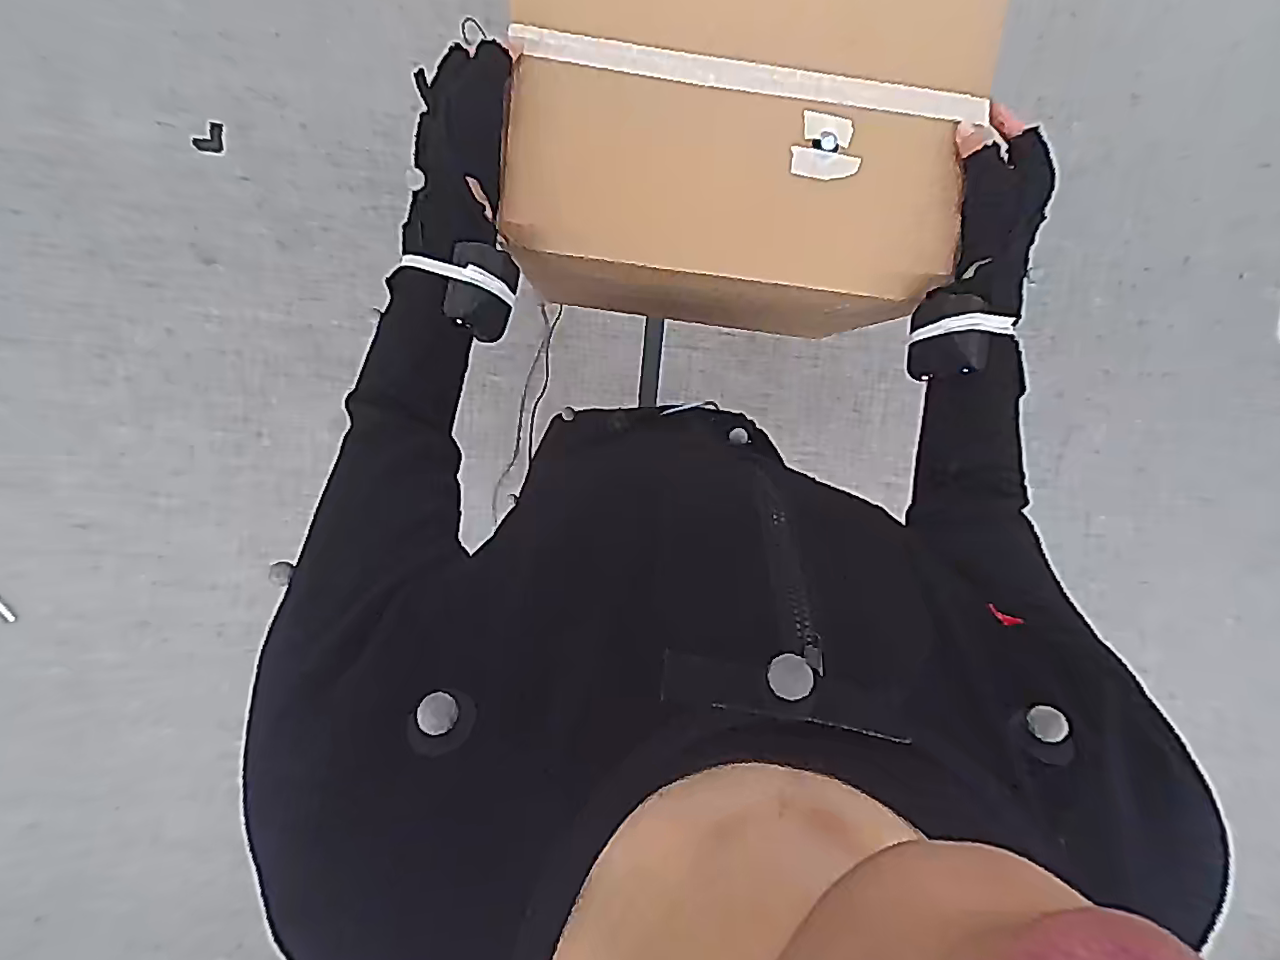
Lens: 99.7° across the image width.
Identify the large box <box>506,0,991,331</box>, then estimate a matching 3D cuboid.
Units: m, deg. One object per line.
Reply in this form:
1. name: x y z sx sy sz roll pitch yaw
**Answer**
1. large box: 0.084 -0.361 0.610 0.408 0.320 0.320 6 100 -4
